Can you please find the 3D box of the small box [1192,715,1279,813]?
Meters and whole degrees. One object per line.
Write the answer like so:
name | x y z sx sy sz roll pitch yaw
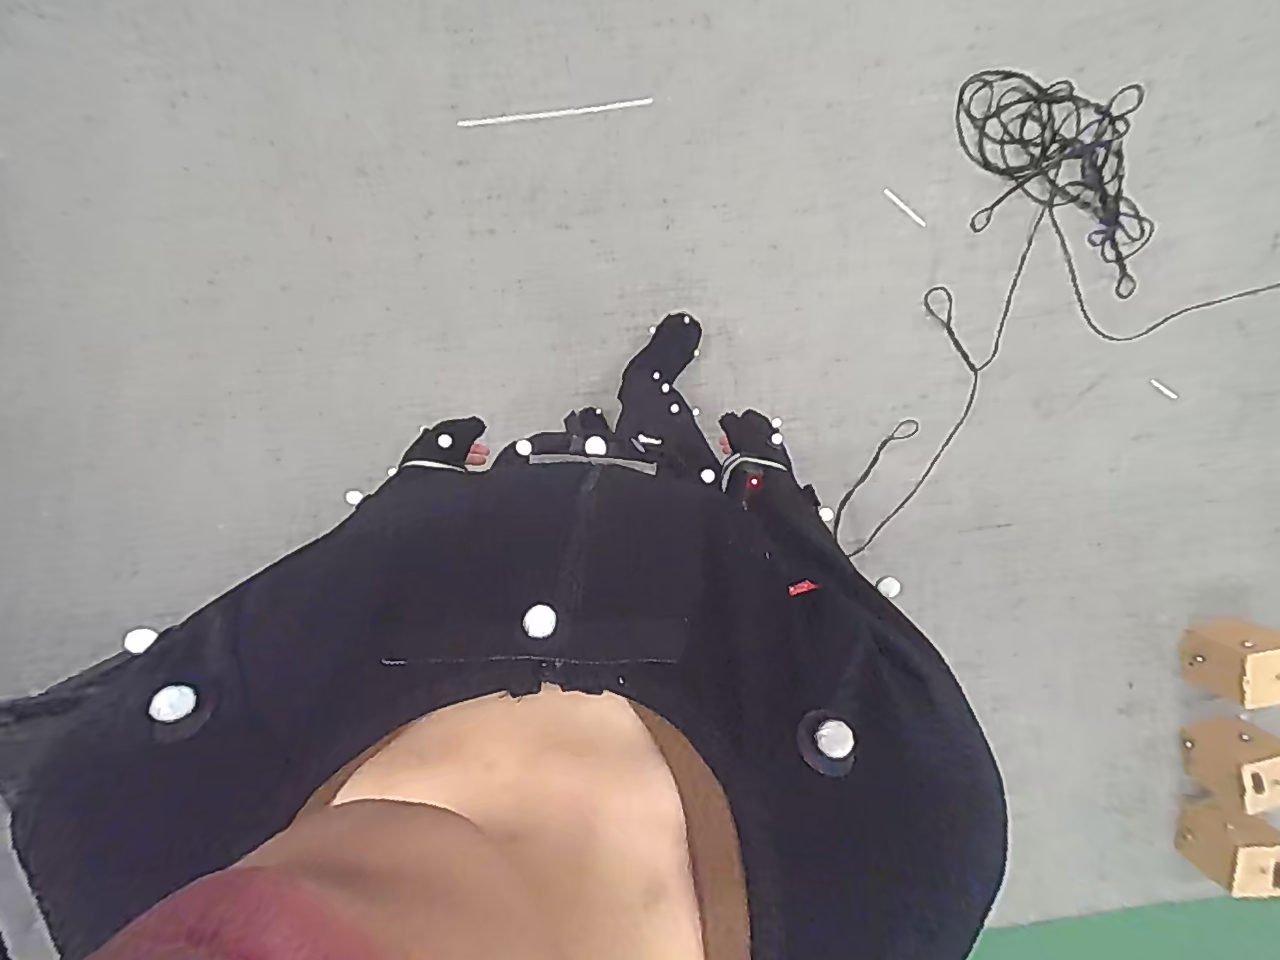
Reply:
small box | 1.759 0.815 1.564 0.179 0.176 0.168 -15 100 0

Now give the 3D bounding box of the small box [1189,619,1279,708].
small box | 1.708 0.505 1.514 0.179 0.176 0.168 -10 99 1
